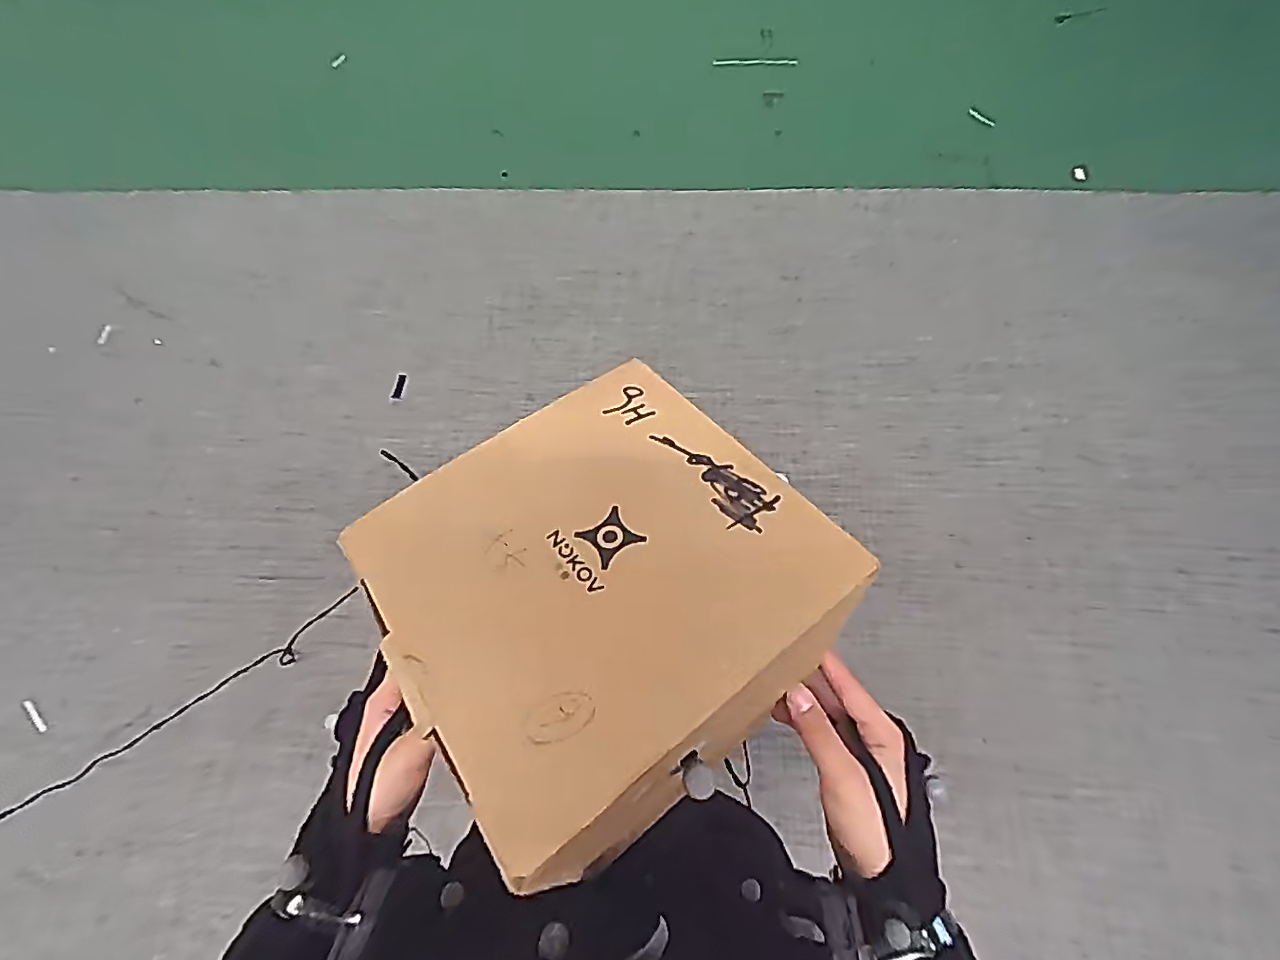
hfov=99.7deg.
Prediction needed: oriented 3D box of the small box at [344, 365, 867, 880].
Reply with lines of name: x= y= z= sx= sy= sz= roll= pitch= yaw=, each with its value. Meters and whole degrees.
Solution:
small box: x=-0.014 y=0.078 z=0.297 sx=0.179 sy=0.176 sz=0.168 roll=-34 pitch=58 yaw=-17
